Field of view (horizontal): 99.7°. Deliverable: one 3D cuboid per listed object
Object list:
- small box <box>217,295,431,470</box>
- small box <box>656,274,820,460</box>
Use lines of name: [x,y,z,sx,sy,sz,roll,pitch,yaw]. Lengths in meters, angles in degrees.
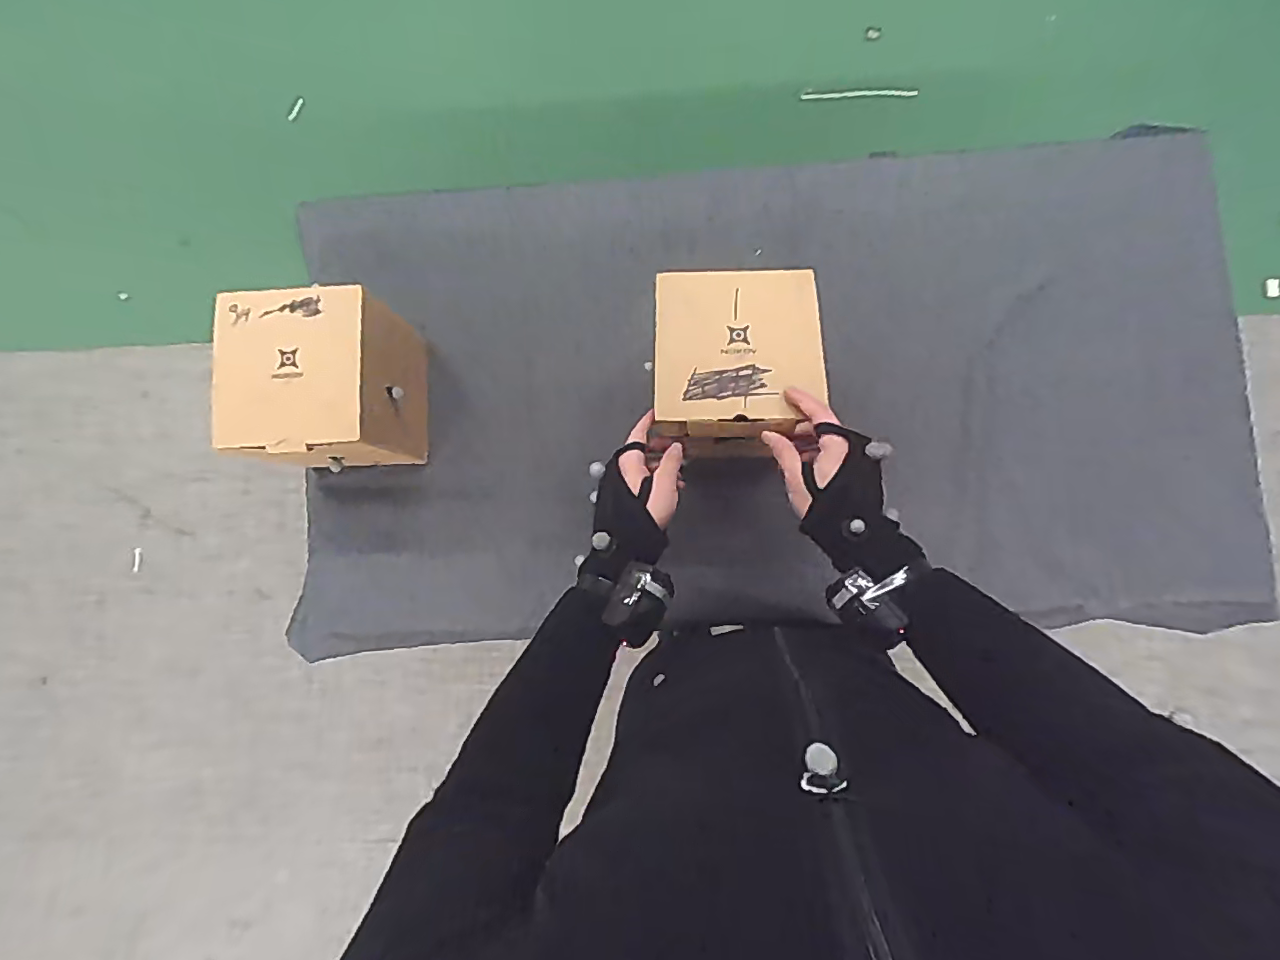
small box: [-0.367,-0.104,0.657,0.168,0.176,0.179,-3,85,2]
small box: [0.105,-0.117,0.629,0.168,0.176,0.179,0,84,4]
